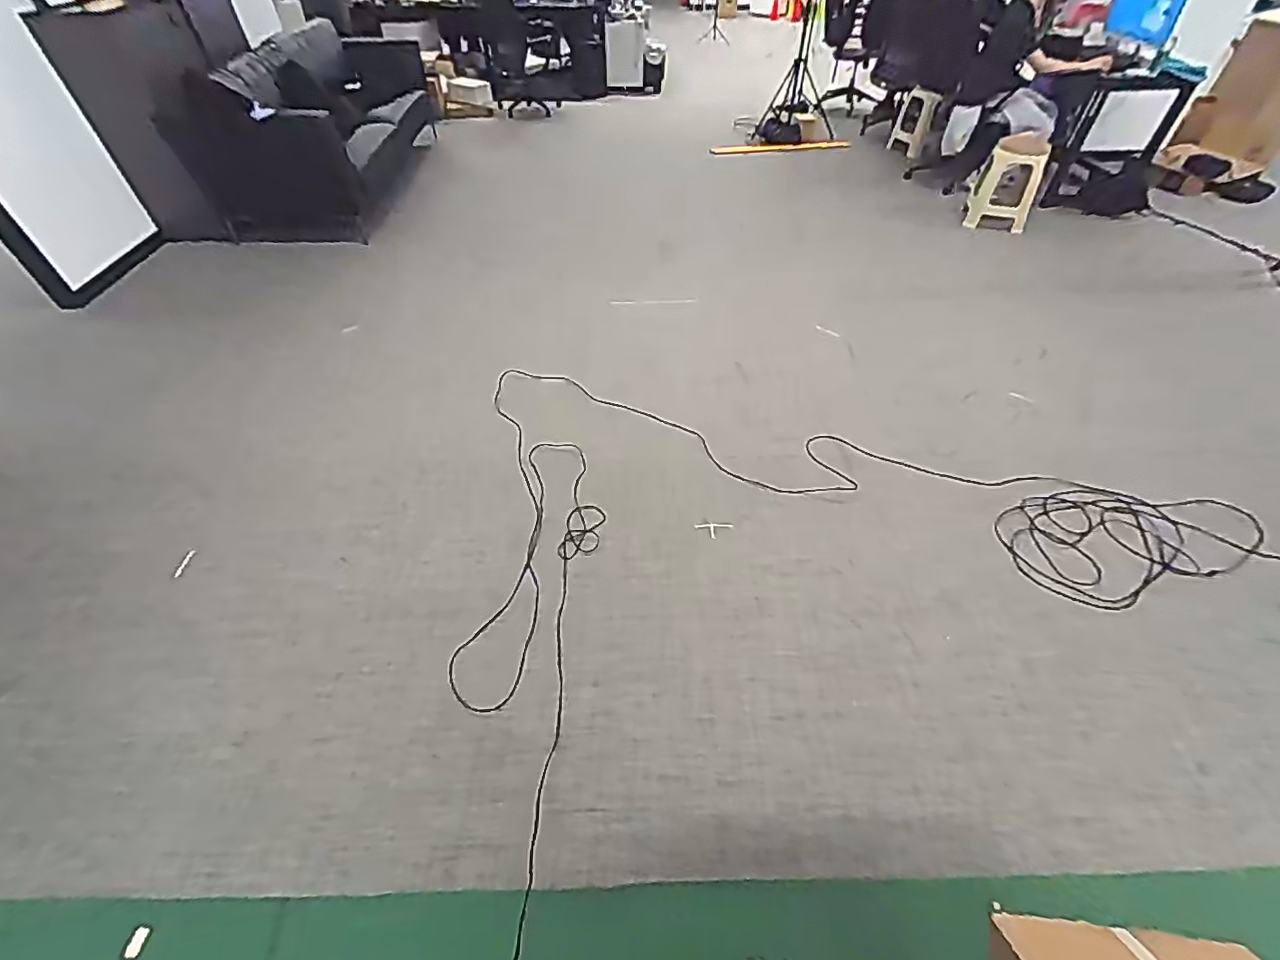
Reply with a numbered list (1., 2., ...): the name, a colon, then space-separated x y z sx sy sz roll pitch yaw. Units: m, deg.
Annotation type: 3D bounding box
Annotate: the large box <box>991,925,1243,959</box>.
1. large box: 0.610 0.754 0.525 0.320 0.408 0.320 2 84 9
